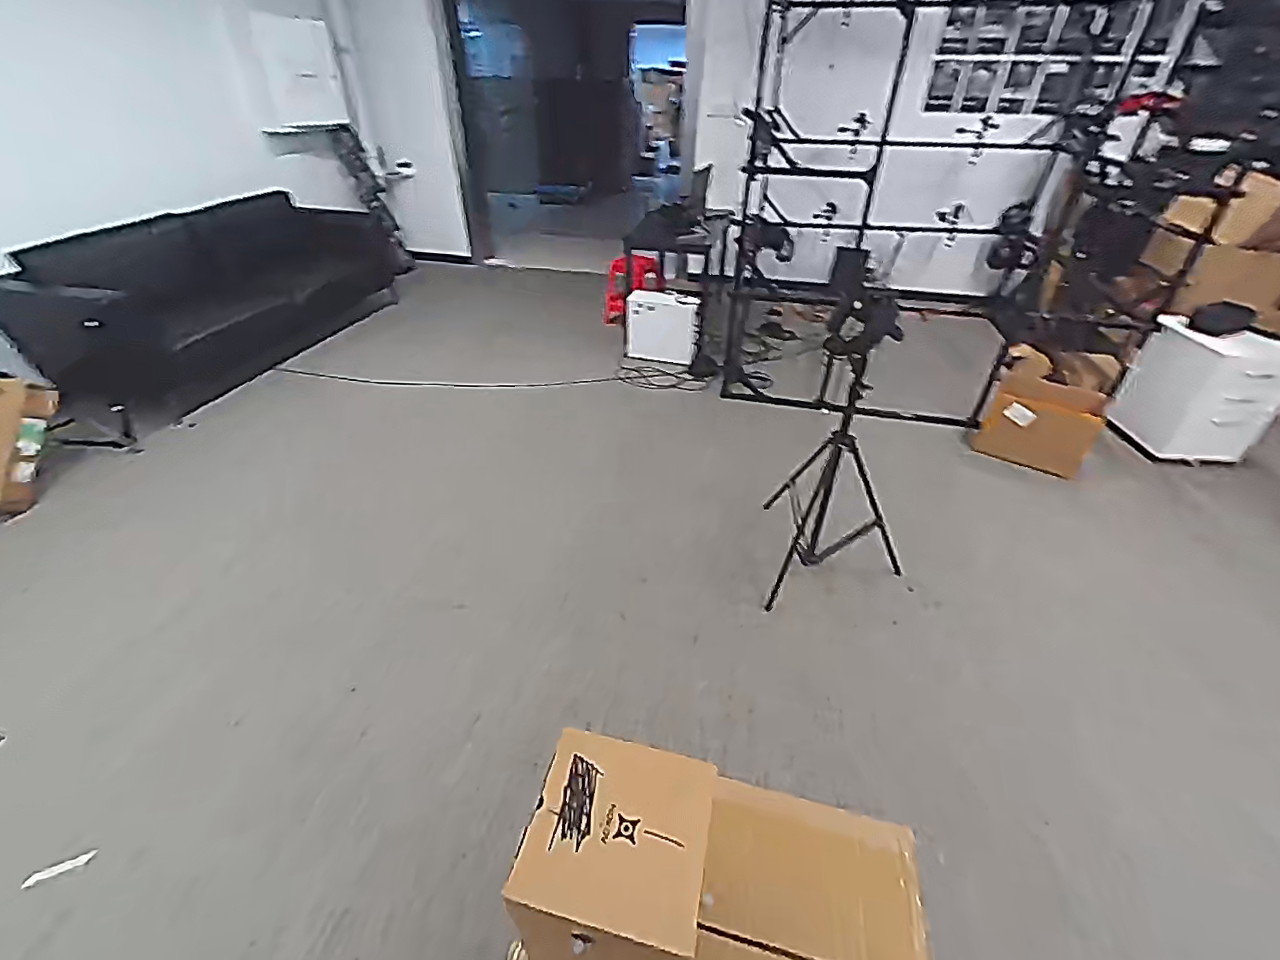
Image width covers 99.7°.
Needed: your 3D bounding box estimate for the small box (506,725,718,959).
[{"bbox_3d":[-0.020,0.402,0.582,0.179,0.176,0.168,9,38,11],"label":"small box"}]
